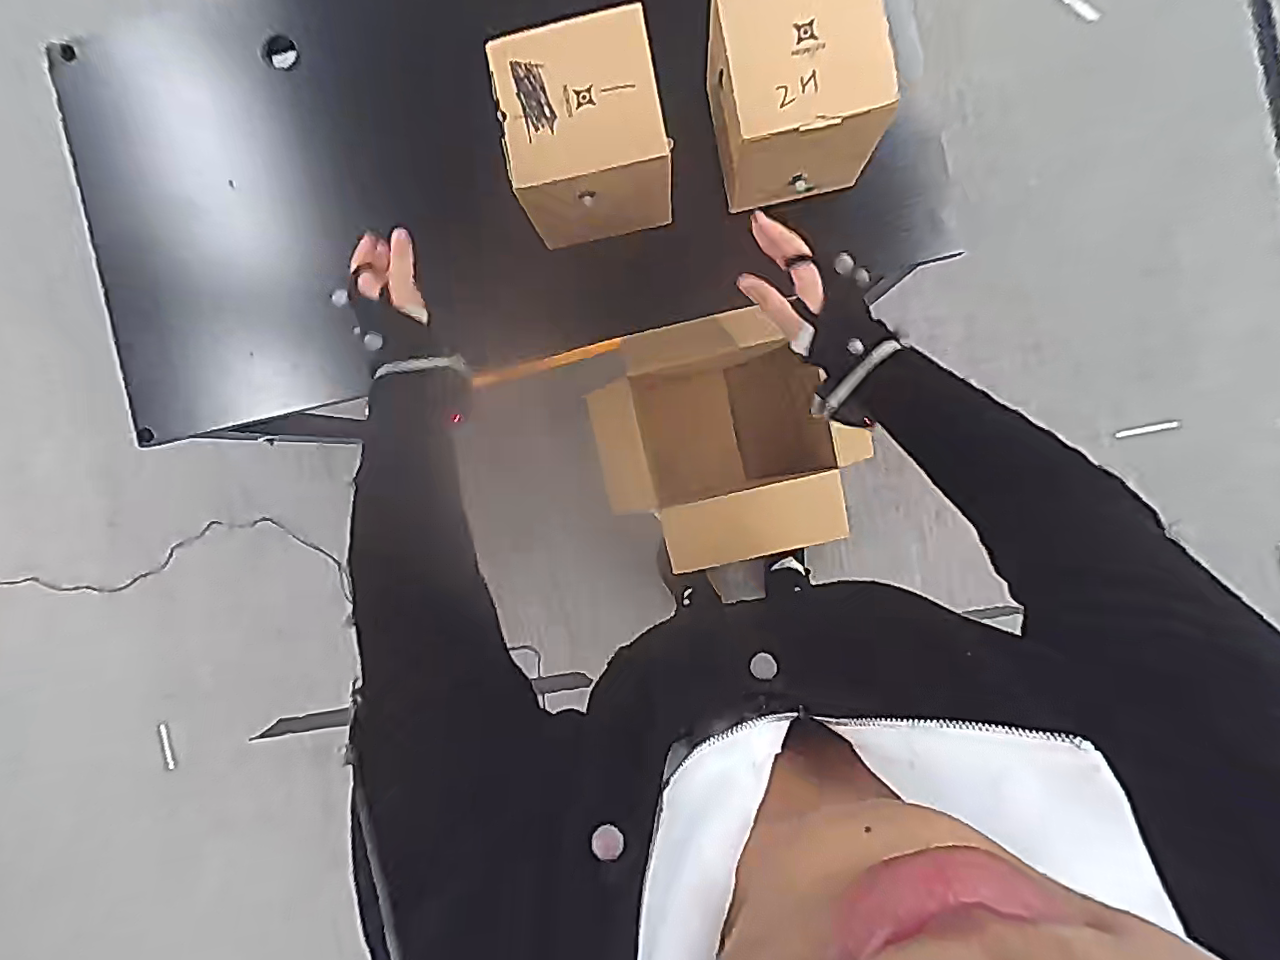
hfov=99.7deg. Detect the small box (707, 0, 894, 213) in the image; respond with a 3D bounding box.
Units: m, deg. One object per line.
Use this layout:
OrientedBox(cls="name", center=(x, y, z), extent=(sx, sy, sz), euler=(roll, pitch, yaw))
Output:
OrientedBox(cls="small box", center=(0.175, -0.455, 0.643), extent=(0.168, 0.176, 0.179), euler=(-10, 91, 6))
